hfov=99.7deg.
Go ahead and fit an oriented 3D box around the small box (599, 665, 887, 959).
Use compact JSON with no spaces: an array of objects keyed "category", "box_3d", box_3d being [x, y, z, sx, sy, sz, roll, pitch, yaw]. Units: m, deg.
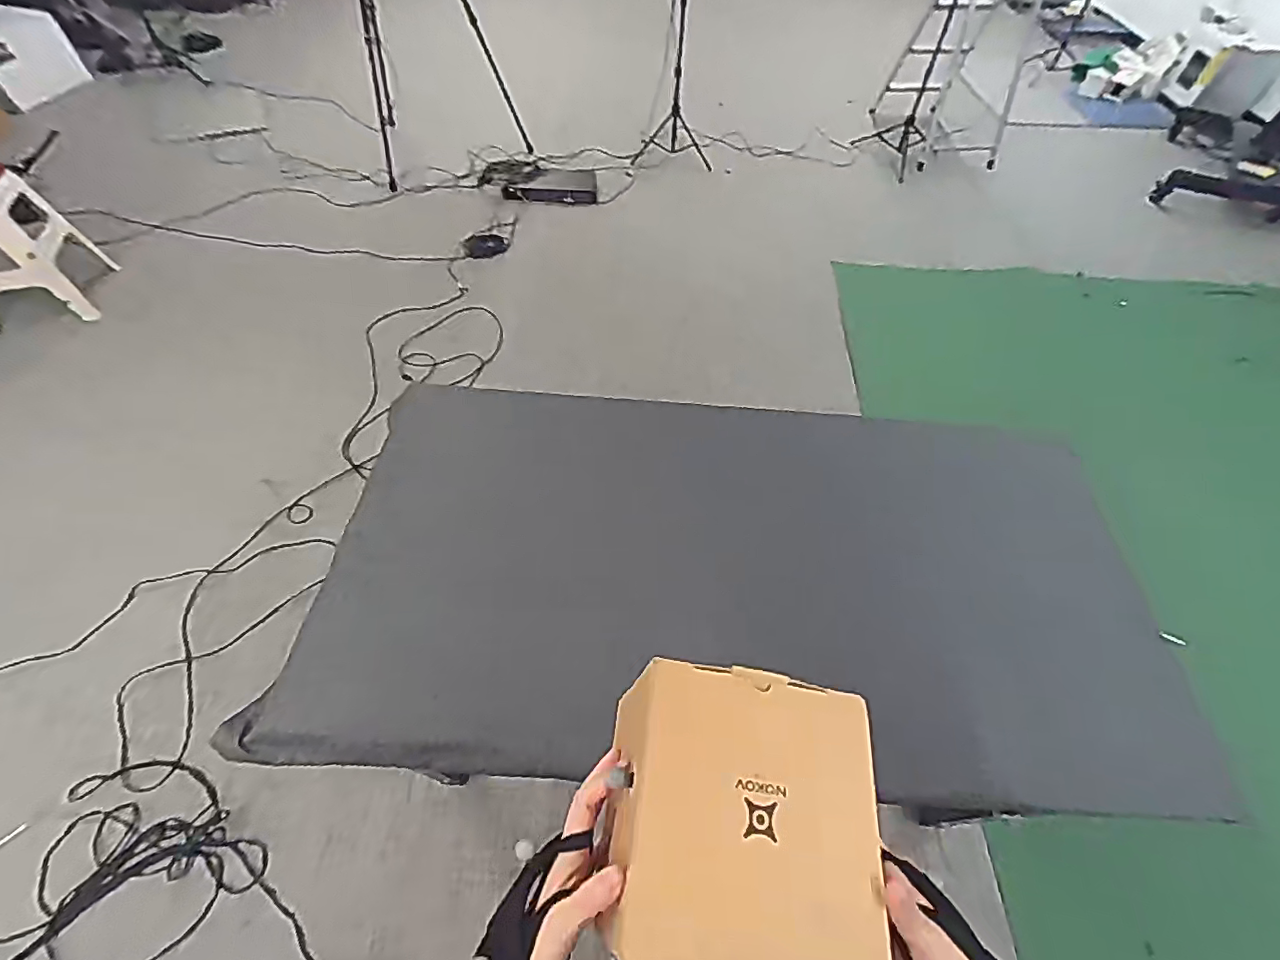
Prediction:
[{"category":"small box","box_3d":[0.067,0.269,0.426,0.168,0.176,0.179,12,55,-5]}]
